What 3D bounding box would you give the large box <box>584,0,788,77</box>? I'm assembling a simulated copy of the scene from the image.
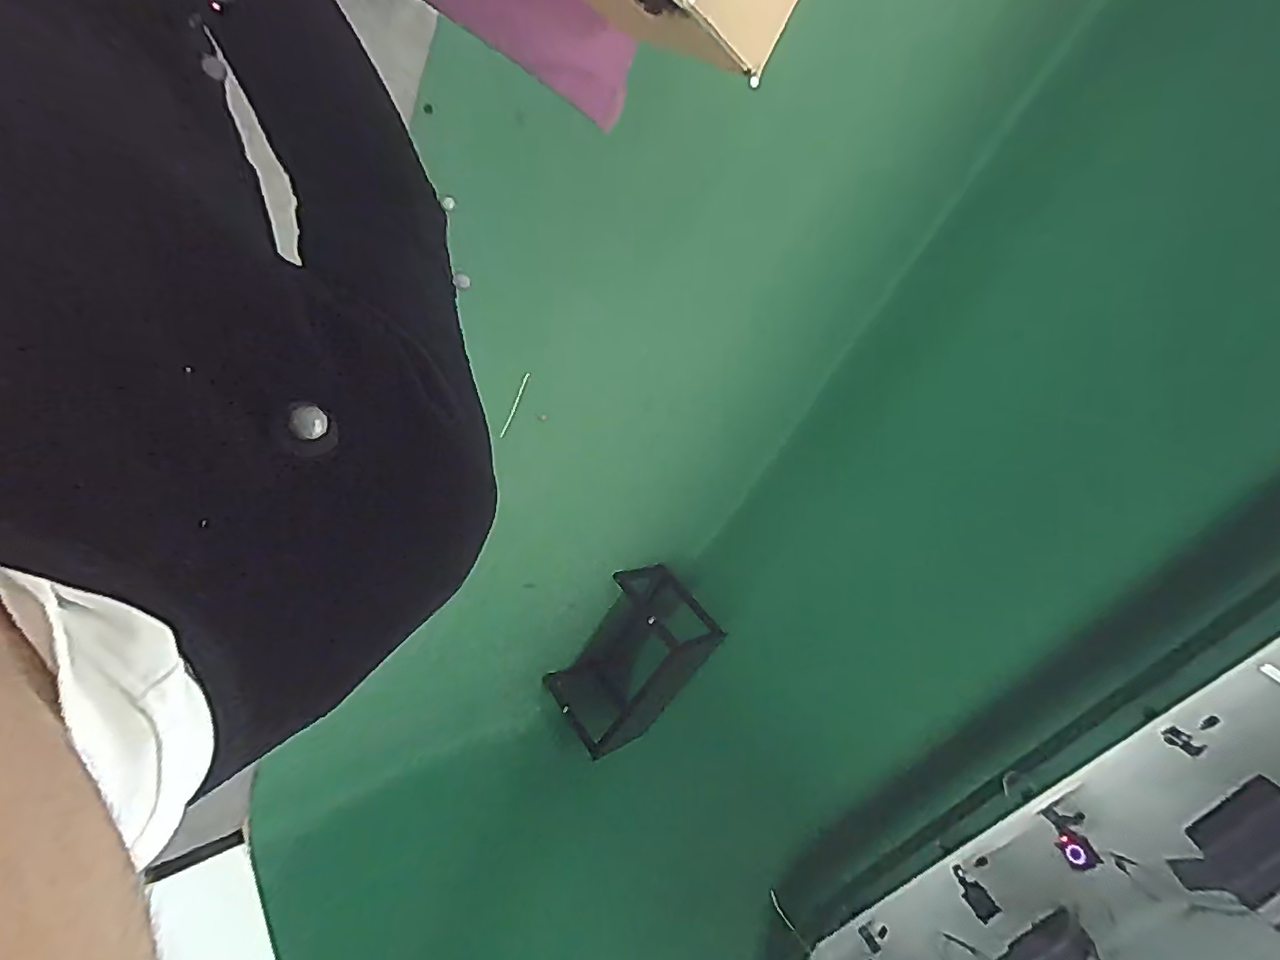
[{"bbox_3d":[0.038,-0.743,0.545,0.320,0.320,0.408,-3,132,-48],"label":"large box"}]
